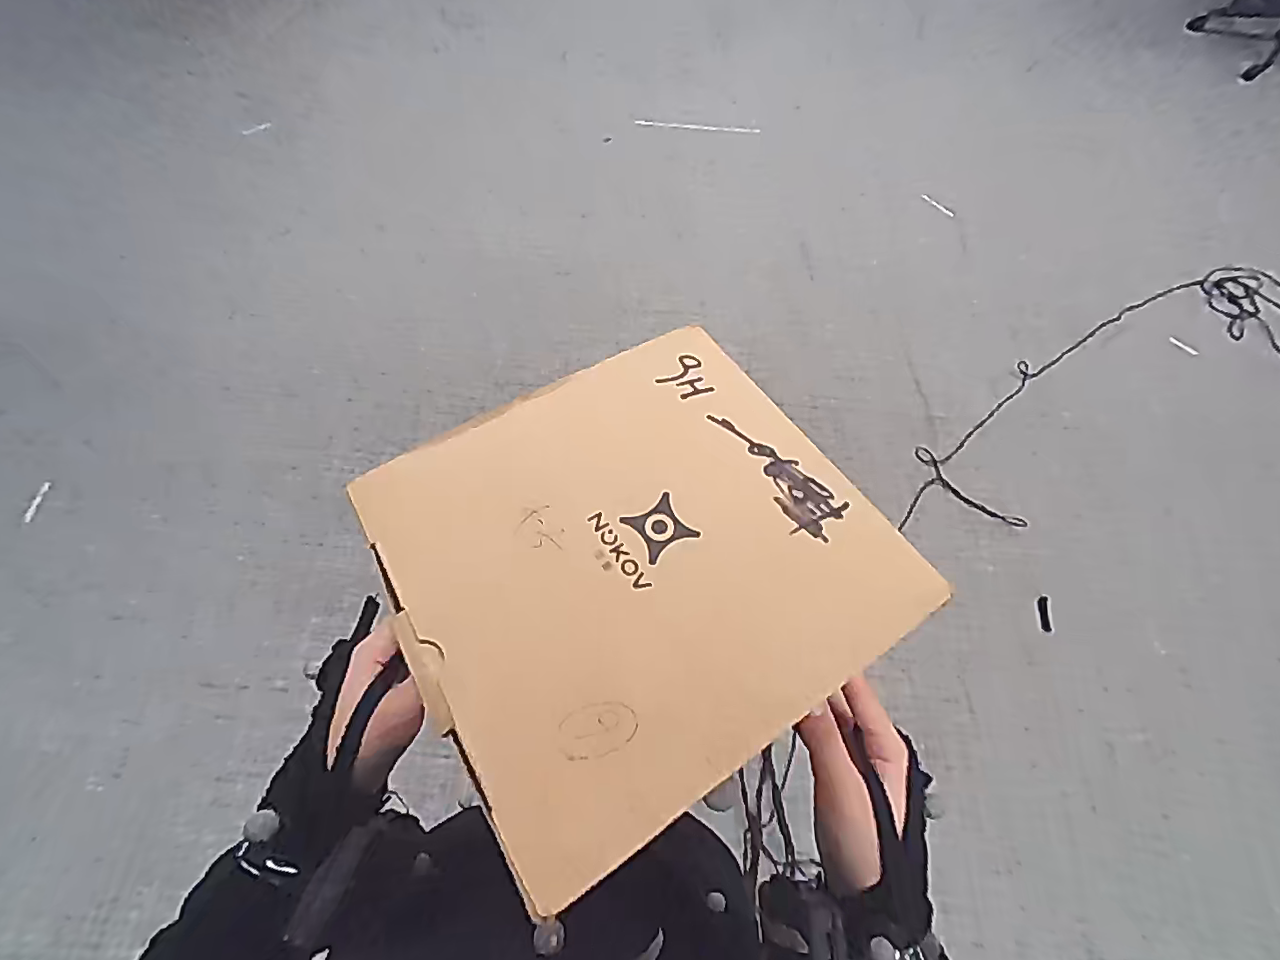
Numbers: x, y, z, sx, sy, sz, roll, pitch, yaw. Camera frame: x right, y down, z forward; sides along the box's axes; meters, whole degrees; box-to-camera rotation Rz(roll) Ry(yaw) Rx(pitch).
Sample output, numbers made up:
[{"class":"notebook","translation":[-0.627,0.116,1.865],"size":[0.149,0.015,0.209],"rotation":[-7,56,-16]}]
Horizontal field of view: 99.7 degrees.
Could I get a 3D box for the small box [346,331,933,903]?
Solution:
[{"class":"small box","translation":[-0.006,0.065,0.277],"size":[0.179,0.176,0.168],"rotation":[-28,64,-17]}]
